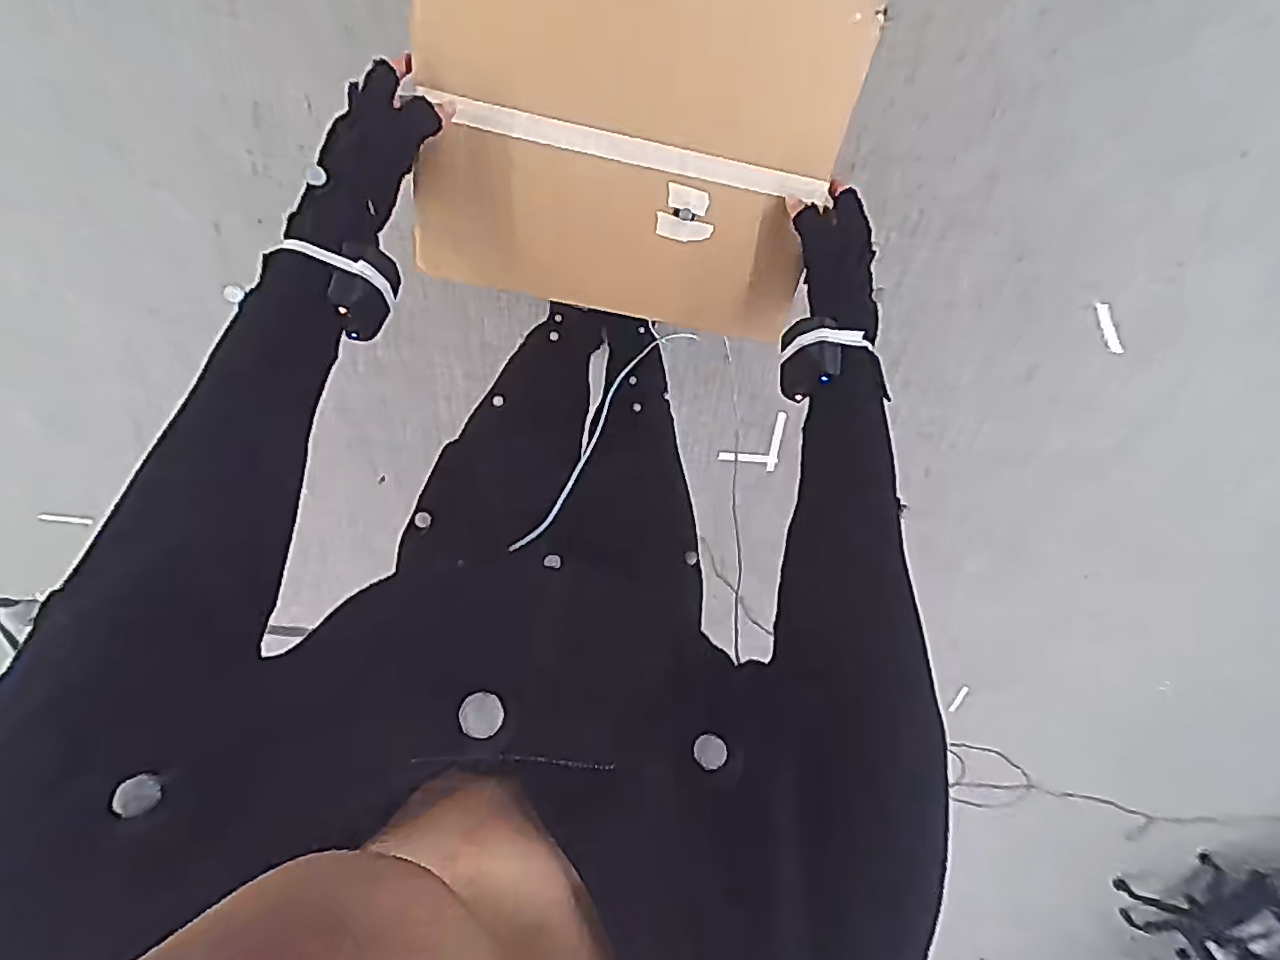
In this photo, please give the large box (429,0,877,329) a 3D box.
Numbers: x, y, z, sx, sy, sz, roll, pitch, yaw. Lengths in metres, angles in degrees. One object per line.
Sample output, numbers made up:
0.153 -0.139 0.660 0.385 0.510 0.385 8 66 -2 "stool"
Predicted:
-0.012 -0.409 0.667 0.408 0.320 0.320 9 120 -7 "large box"
